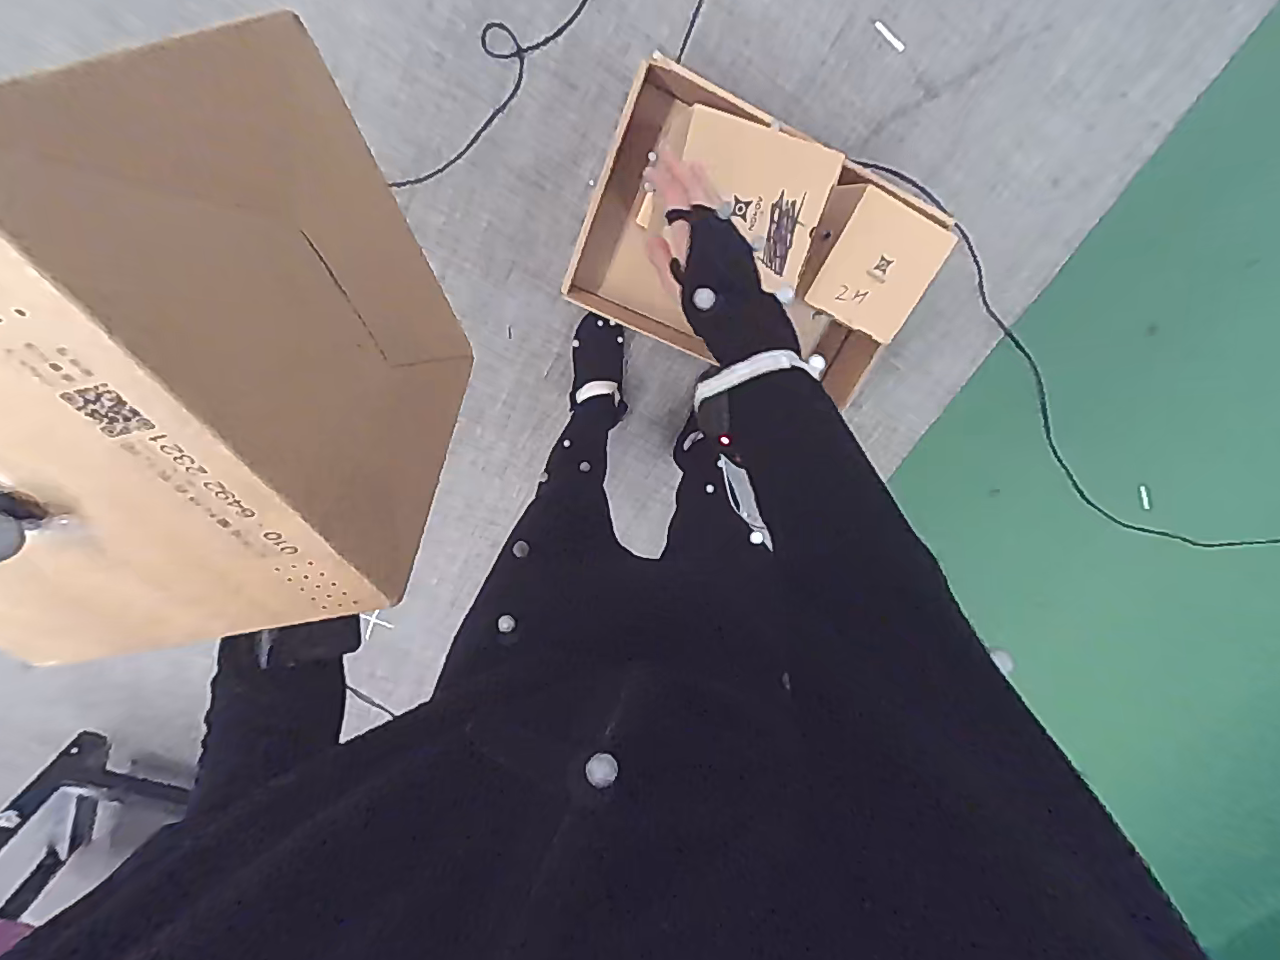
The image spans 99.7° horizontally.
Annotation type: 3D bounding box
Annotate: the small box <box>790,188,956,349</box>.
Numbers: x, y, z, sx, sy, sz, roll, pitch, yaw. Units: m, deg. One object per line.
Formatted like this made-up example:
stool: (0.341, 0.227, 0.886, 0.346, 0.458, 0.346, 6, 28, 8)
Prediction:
small box: (0.347, -0.341, 0.870, 0.168, 0.176, 0.179, 22, 114, -14)

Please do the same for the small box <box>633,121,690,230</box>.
small box: (0.097, -0.498, 0.958, 0.179, 0.176, 0.168, 19, 115, -16)

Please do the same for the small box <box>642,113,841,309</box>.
small box: (0.110, -0.331, 0.677, 0.179, 0.176, 0.168, 11, 116, -10)
